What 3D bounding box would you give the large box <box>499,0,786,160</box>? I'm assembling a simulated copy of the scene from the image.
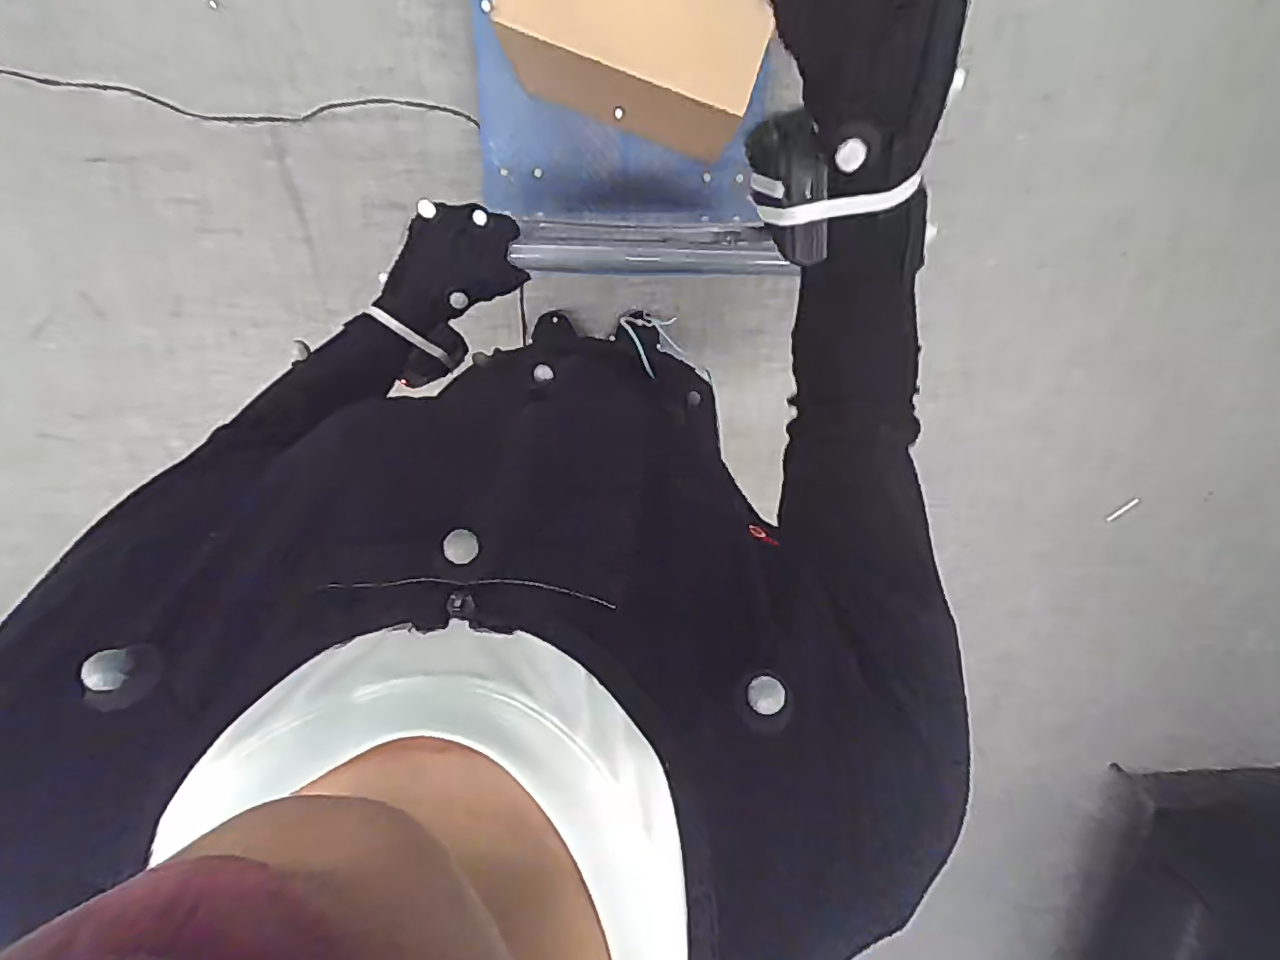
[{"bbox_3d":[0.023,-0.796,0.912,0.408,0.320,0.320,17,107,-6],"label":"large box"}]
